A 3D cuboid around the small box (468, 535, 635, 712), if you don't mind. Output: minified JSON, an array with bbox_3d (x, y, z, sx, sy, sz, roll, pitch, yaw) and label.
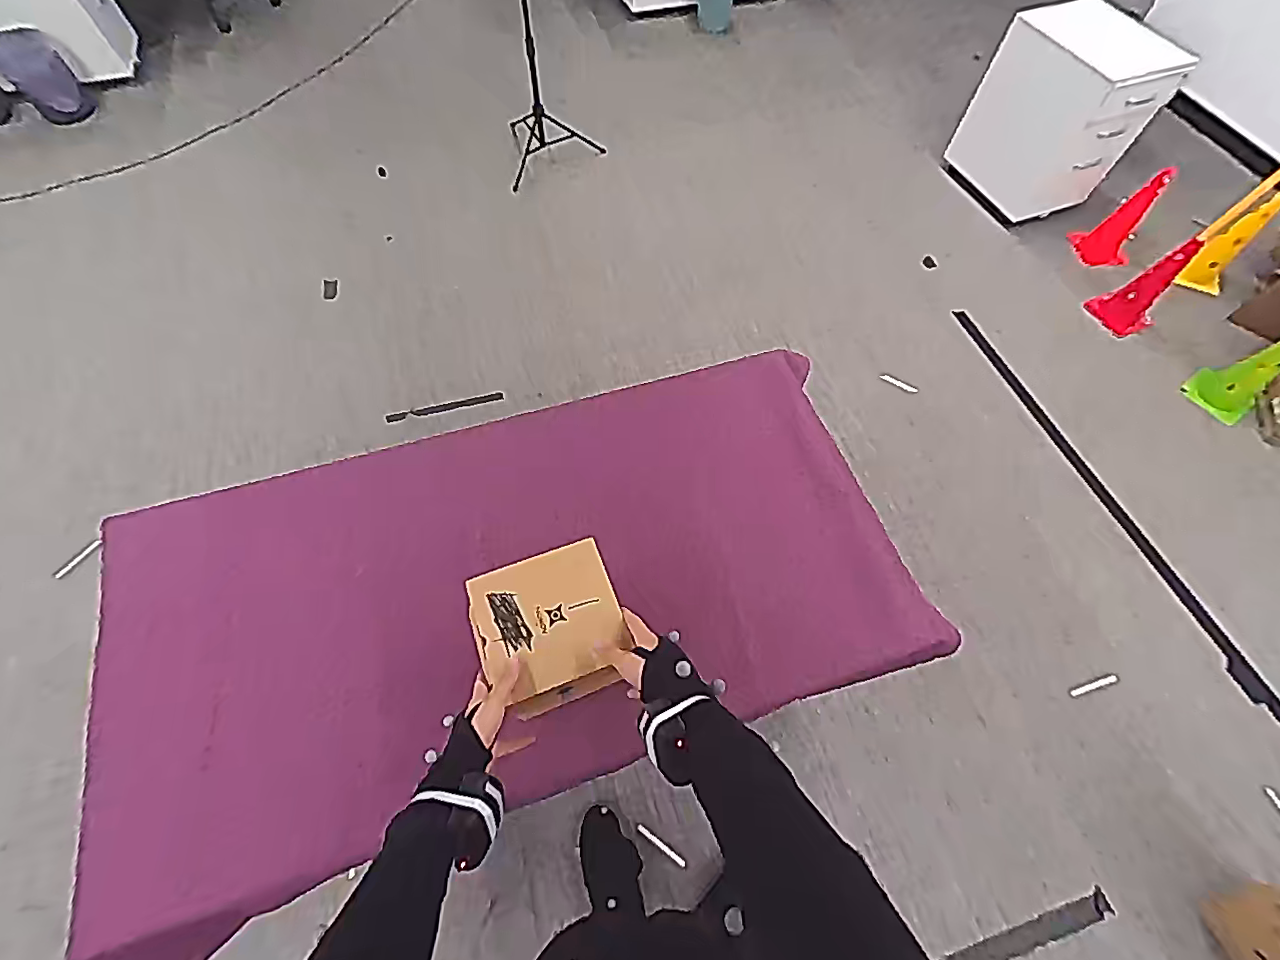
[{"bbox_3d":[-0.112,0.203,0.741,0.179,0.176,0.168,-19,65,-10],"label":"small box"}]

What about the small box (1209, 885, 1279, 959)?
[{"bbox_3d":[1.423,1.025,1.179,0.179,0.176,0.168,-19,65,-11],"label":"small box"}]
